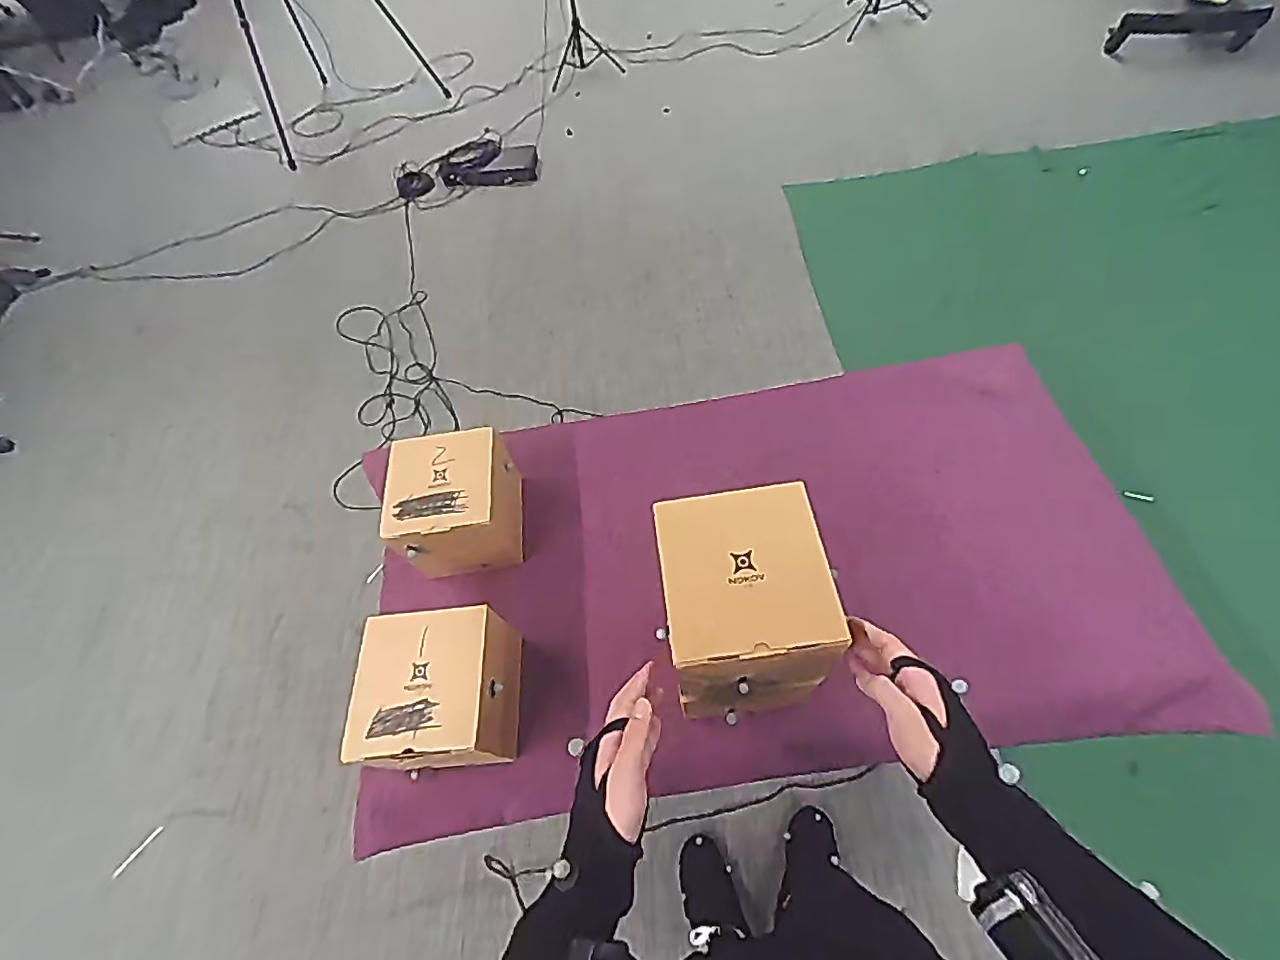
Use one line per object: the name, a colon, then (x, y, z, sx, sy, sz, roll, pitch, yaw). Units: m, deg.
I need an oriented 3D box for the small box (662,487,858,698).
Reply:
small box: (0.117, 0.132, 0.606, 0.168, 0.176, 0.179, -8, 60, 2)

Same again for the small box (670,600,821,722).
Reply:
small box: (0.131, 0.220, 0.741, 0.168, 0.176, 0.179, -8, 59, 2)

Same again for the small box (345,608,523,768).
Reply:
small box: (-0.263, 0.290, 0.739, 0.168, 0.176, 0.179, -6, 58, 2)
